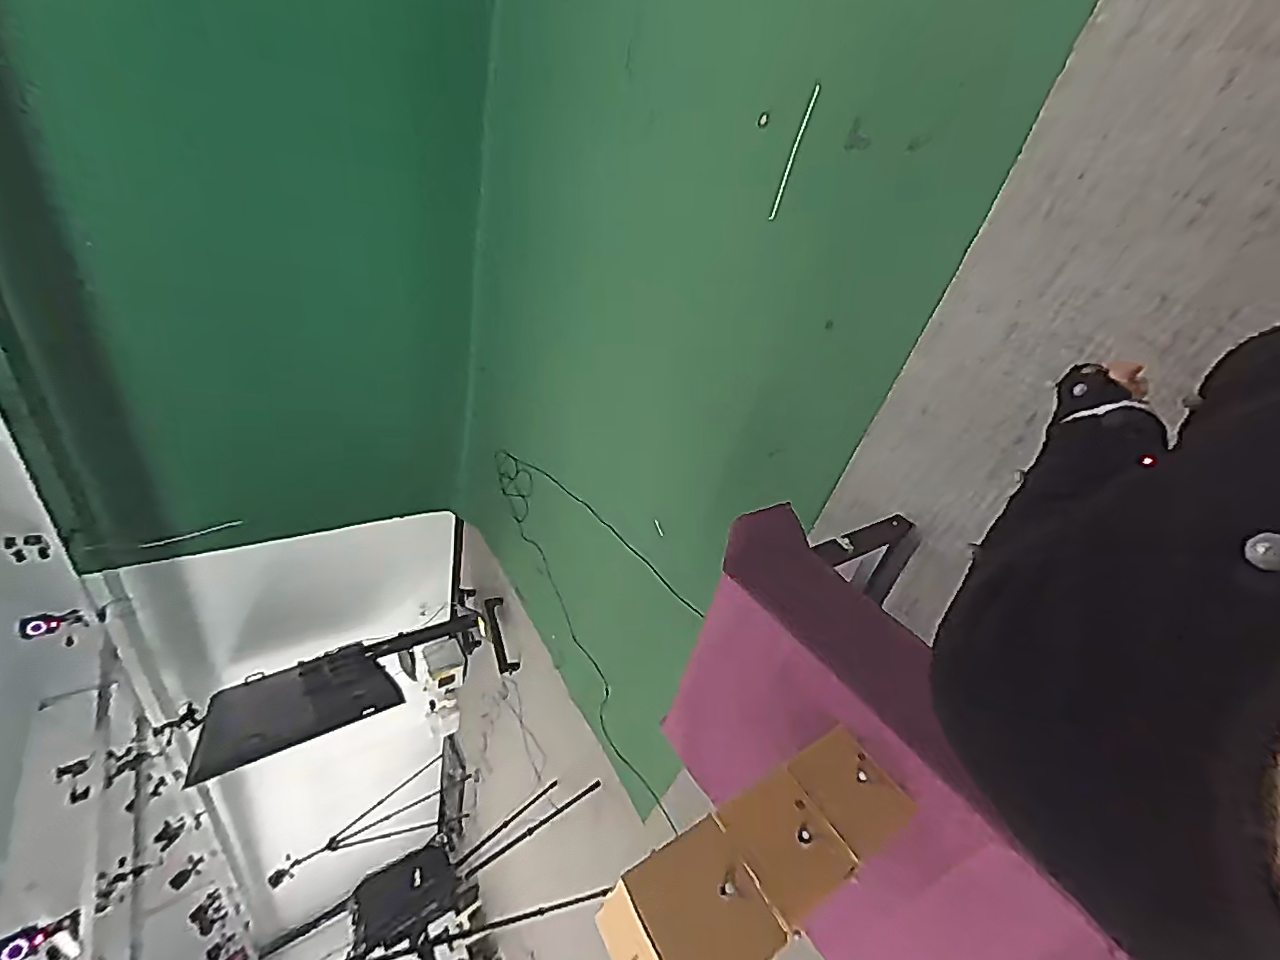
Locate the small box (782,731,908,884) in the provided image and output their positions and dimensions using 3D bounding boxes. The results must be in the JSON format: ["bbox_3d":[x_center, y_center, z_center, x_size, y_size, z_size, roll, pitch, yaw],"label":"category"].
[{"bbox_3d":[0.331,0.584,0.948,0.168,0.176,0.179,45,133,37],"label":"small box"}]

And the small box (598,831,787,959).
[{"bbox_3d":[0.068,0.634,0.759,0.179,0.176,0.168,49,135,37],"label":"small box"}]

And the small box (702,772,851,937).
[{"bbox_3d":[0.198,0.609,0.856,0.168,0.176,0.179,46,133,38],"label":"small box"}]
